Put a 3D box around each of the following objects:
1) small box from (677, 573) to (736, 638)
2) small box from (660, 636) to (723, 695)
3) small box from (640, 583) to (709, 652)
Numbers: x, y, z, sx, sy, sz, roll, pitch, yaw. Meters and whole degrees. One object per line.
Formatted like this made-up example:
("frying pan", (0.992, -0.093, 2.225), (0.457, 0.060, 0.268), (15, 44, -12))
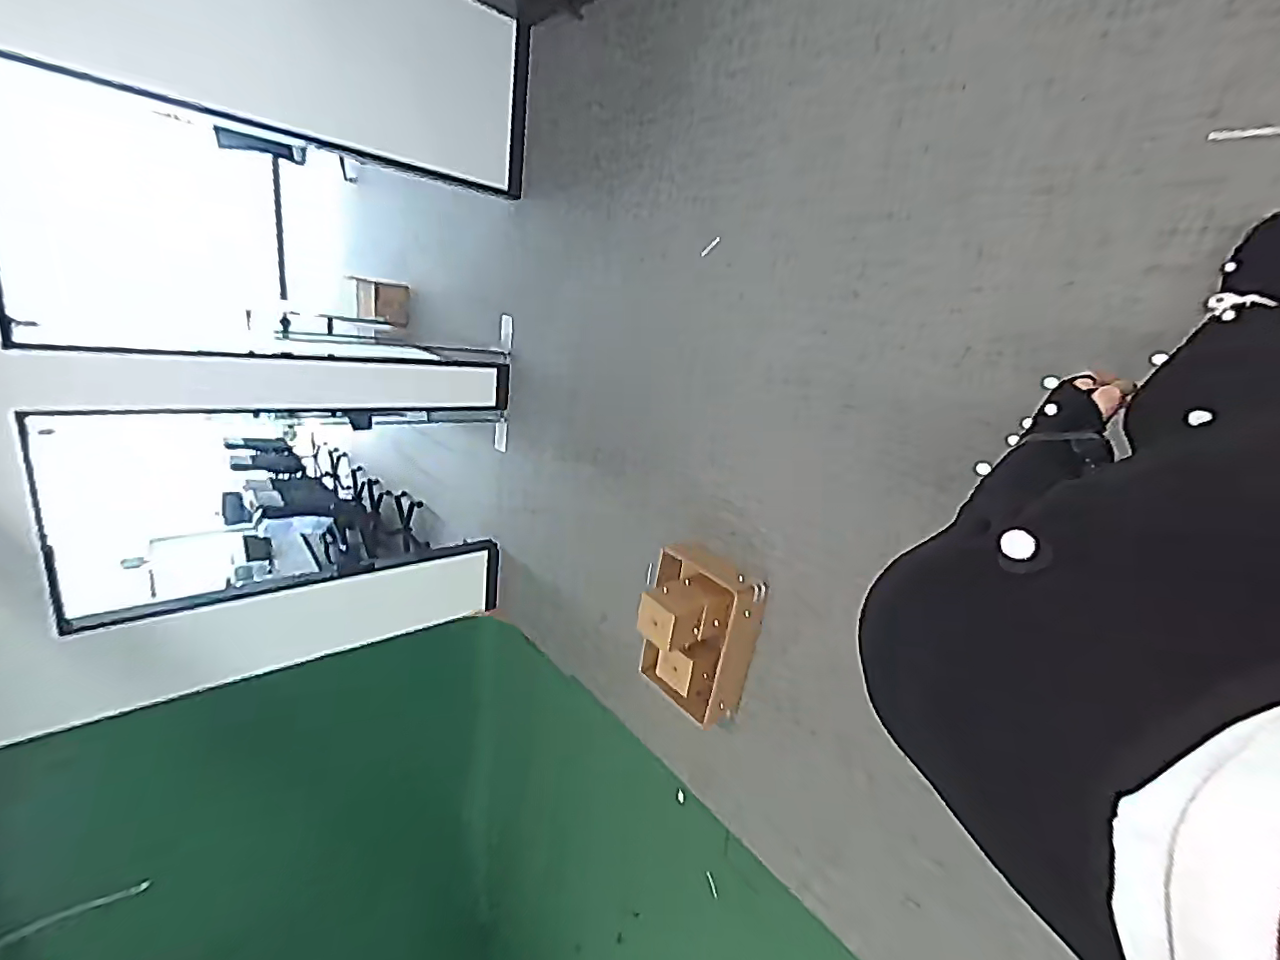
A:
("small box", (0.251, 0.478, 2.099), (0.179, 0.176, 0.168), (25, 114, 43))
("small box", (0.209, 0.724, 2.178), (0.179, 0.176, 0.168), (24, 112, 43))
("small box", (0.126, 0.496, 1.993), (0.179, 0.176, 0.168), (28, 118, 42))
